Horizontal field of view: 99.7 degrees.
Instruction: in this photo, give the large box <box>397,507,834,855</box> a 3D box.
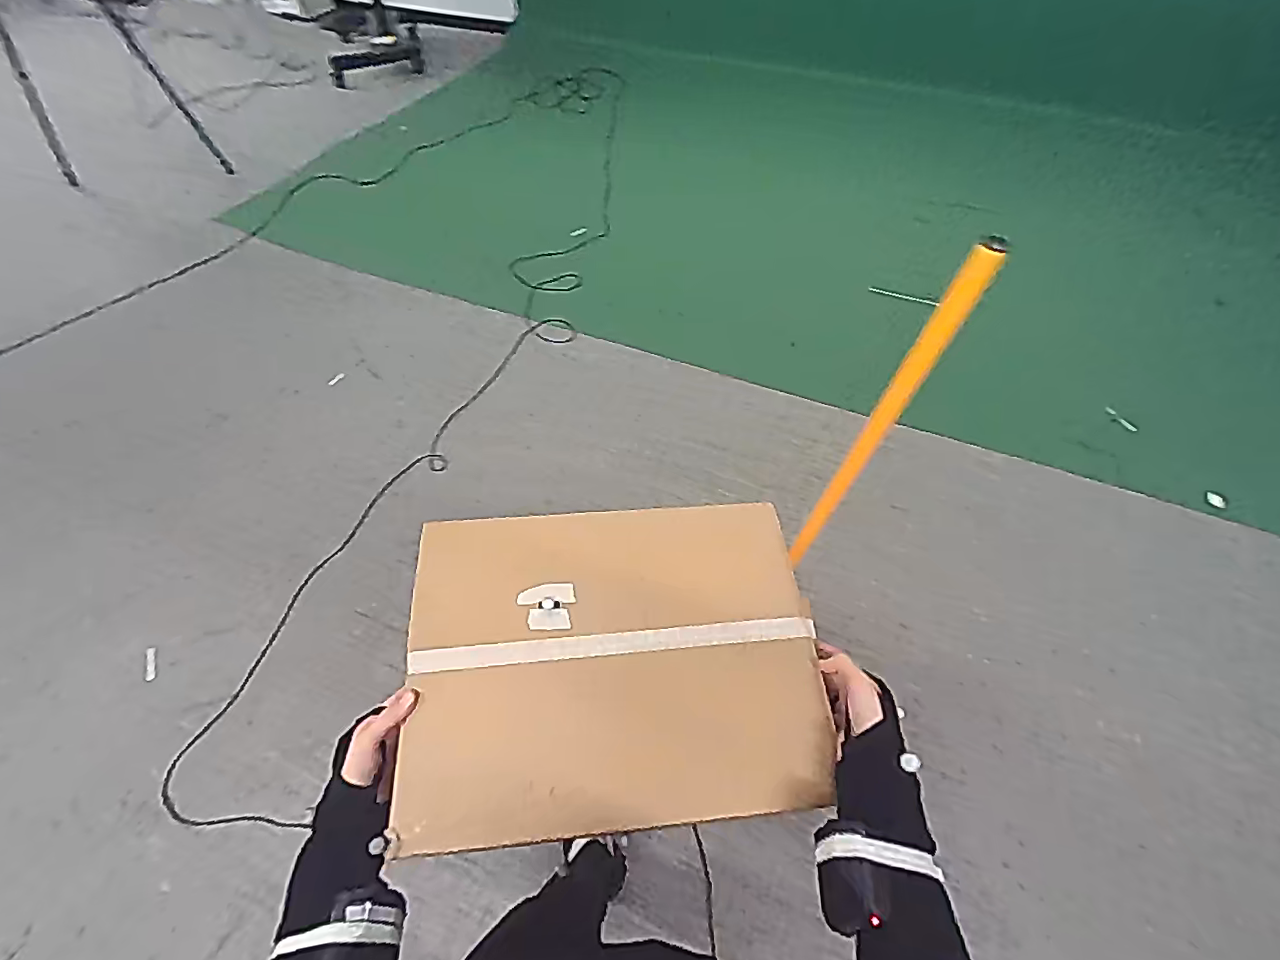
[{"bbox_3d":[-0.035,0.254,0.686,0.408,0.320,0.320,-4,58,-5],"label":"large box"}]
